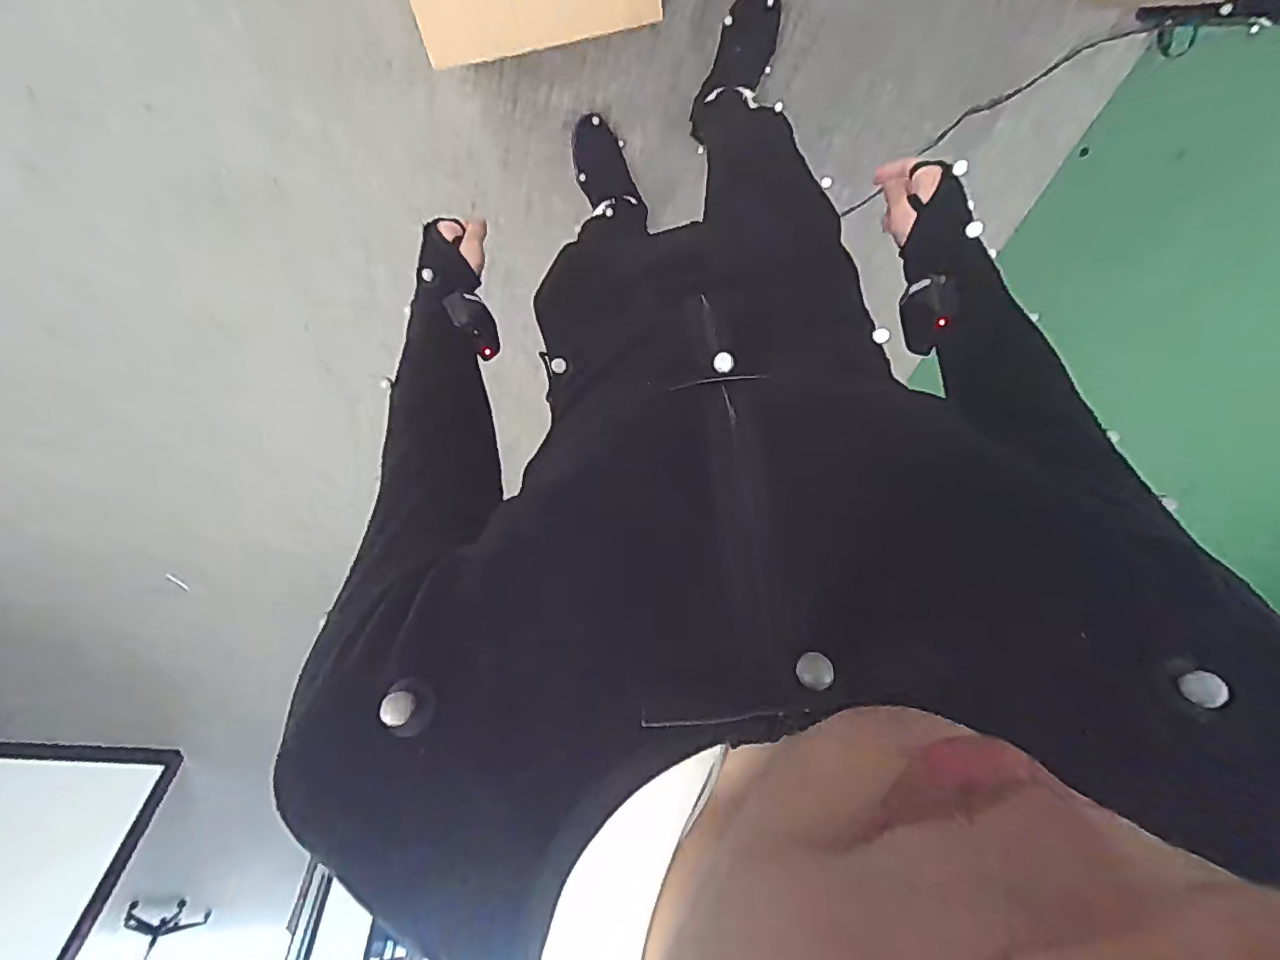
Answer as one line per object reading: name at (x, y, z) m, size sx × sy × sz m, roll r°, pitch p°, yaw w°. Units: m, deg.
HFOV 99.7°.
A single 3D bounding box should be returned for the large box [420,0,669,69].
large box at (-0.187, -0.949, 0.932) m, size 0.408 × 0.320 × 0.320 m, roll -11°, pitch 130°, yaw 2°
